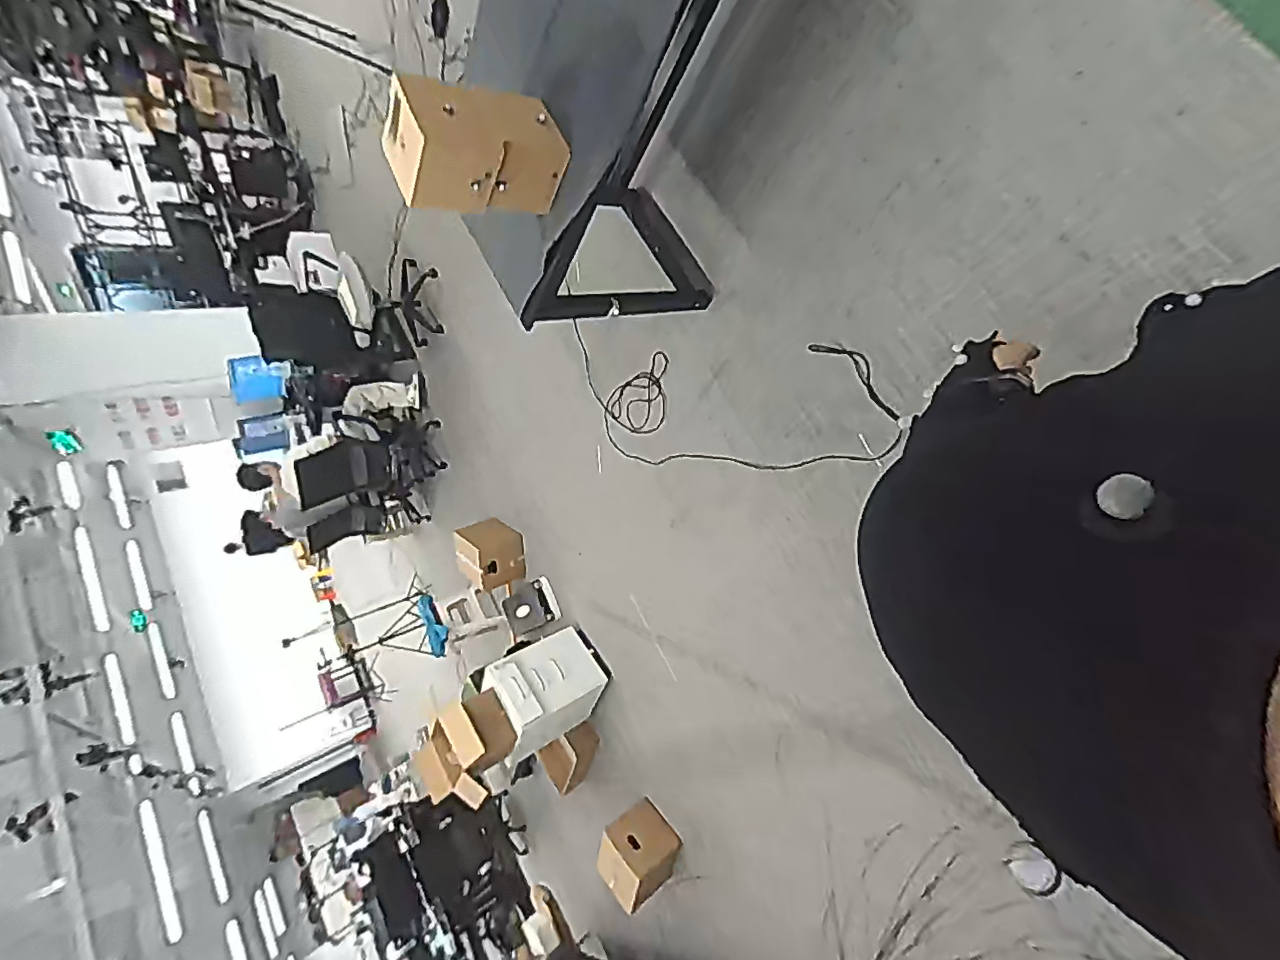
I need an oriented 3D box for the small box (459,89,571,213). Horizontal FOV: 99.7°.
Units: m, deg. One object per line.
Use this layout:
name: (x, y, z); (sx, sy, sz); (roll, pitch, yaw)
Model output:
small box: (-0.284, -0.729, 1.221); (0.168, 0.176, 0.179); (-47, 66, 49)
